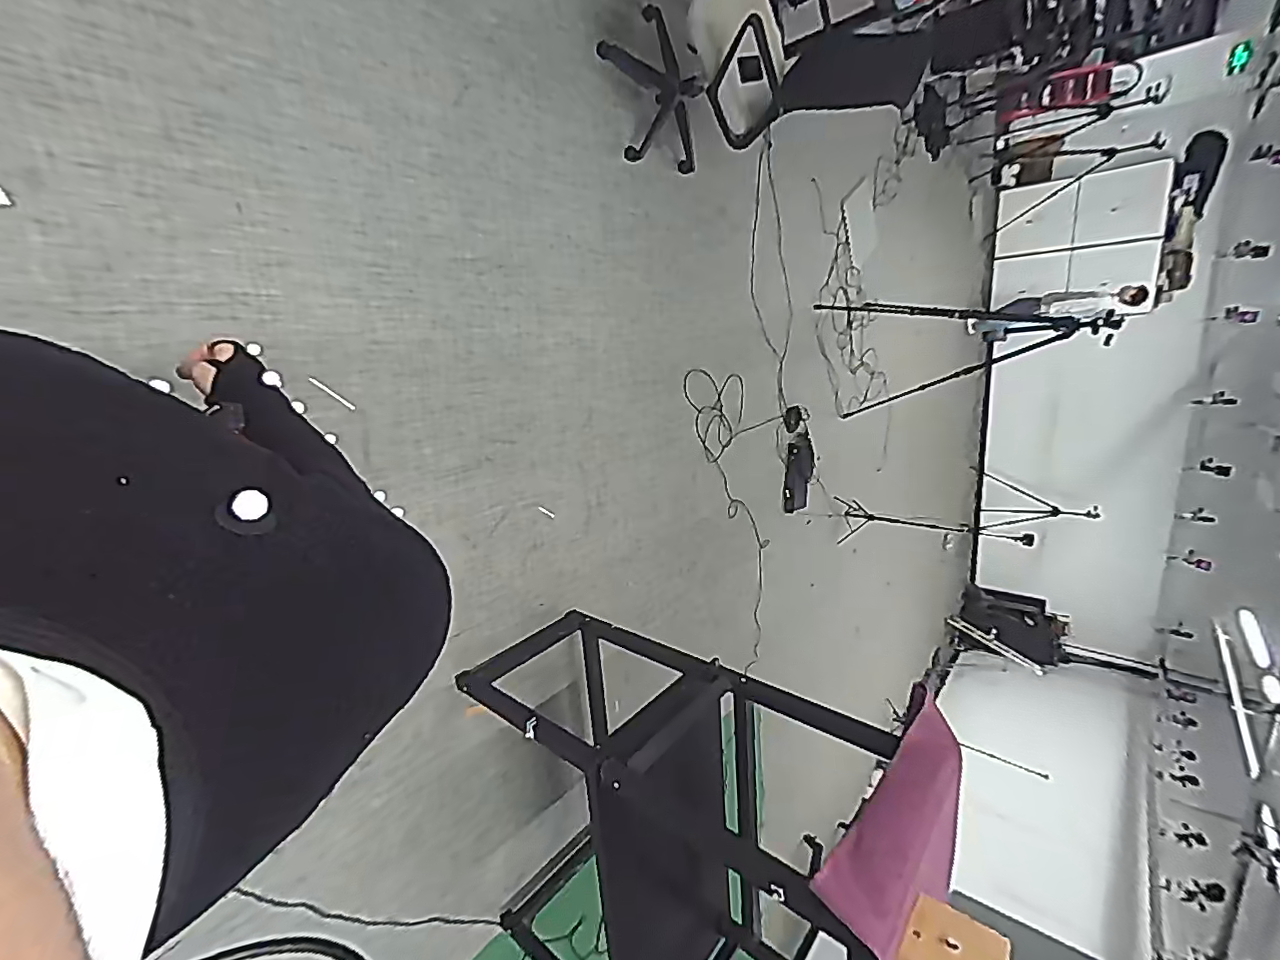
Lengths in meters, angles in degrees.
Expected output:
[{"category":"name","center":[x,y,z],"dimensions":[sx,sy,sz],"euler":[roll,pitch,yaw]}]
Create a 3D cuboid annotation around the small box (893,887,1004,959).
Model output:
[{"category":"small box","center":[0.618,0.979,1.094],"dimensions":[0.168,0.176,0.179],"euler":[-16,109,-47]}]
